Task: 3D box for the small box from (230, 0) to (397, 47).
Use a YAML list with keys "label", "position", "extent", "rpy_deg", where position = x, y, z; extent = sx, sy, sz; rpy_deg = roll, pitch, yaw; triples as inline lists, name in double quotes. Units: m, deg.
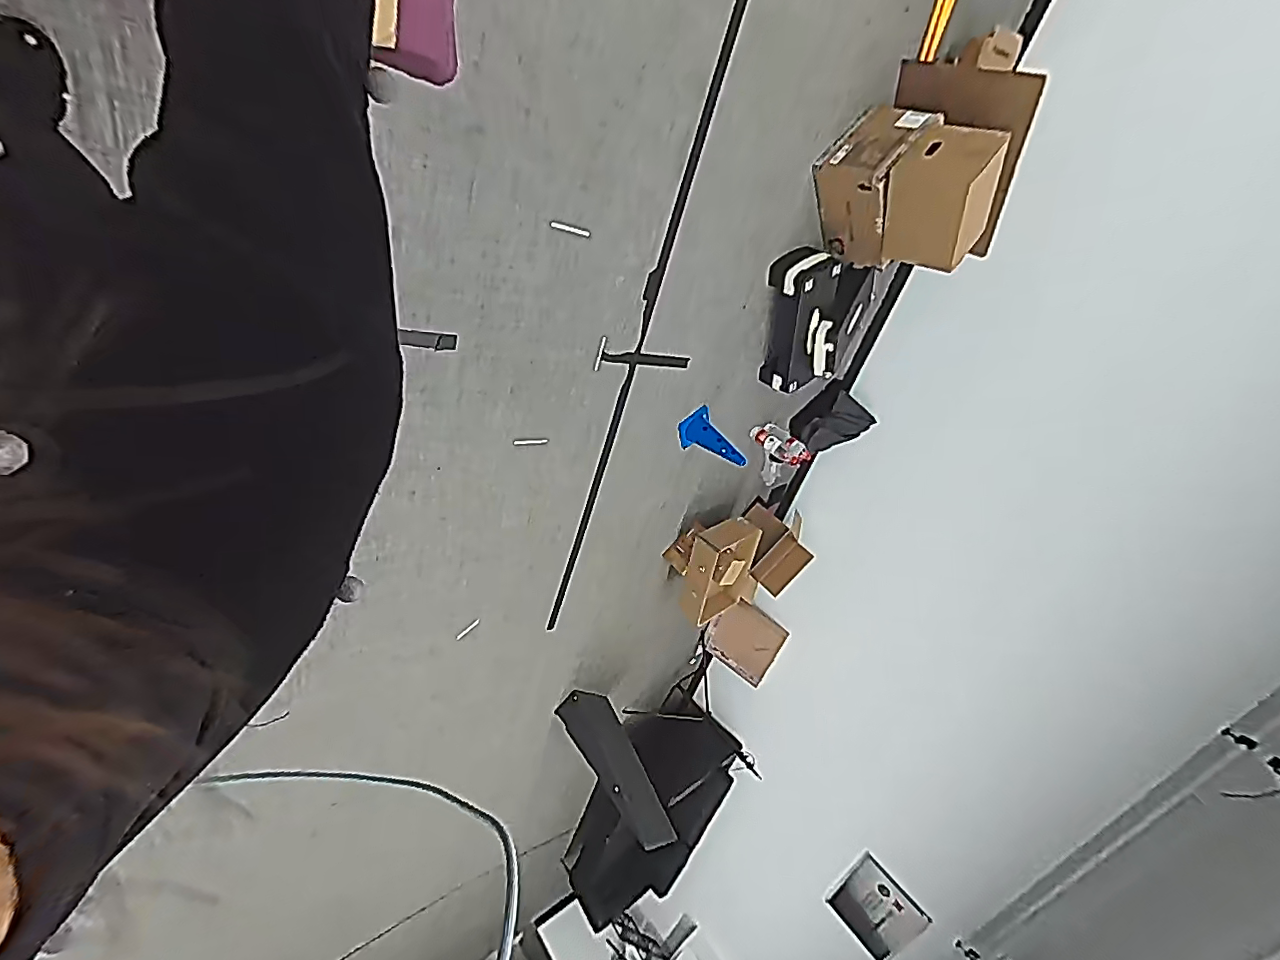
- label: "small box"
  position: [-0.334, -0.538, 0.497]
  extent: [0.168, 0.176, 0.179]
  rpy_deg: [-10, 129, -40]
